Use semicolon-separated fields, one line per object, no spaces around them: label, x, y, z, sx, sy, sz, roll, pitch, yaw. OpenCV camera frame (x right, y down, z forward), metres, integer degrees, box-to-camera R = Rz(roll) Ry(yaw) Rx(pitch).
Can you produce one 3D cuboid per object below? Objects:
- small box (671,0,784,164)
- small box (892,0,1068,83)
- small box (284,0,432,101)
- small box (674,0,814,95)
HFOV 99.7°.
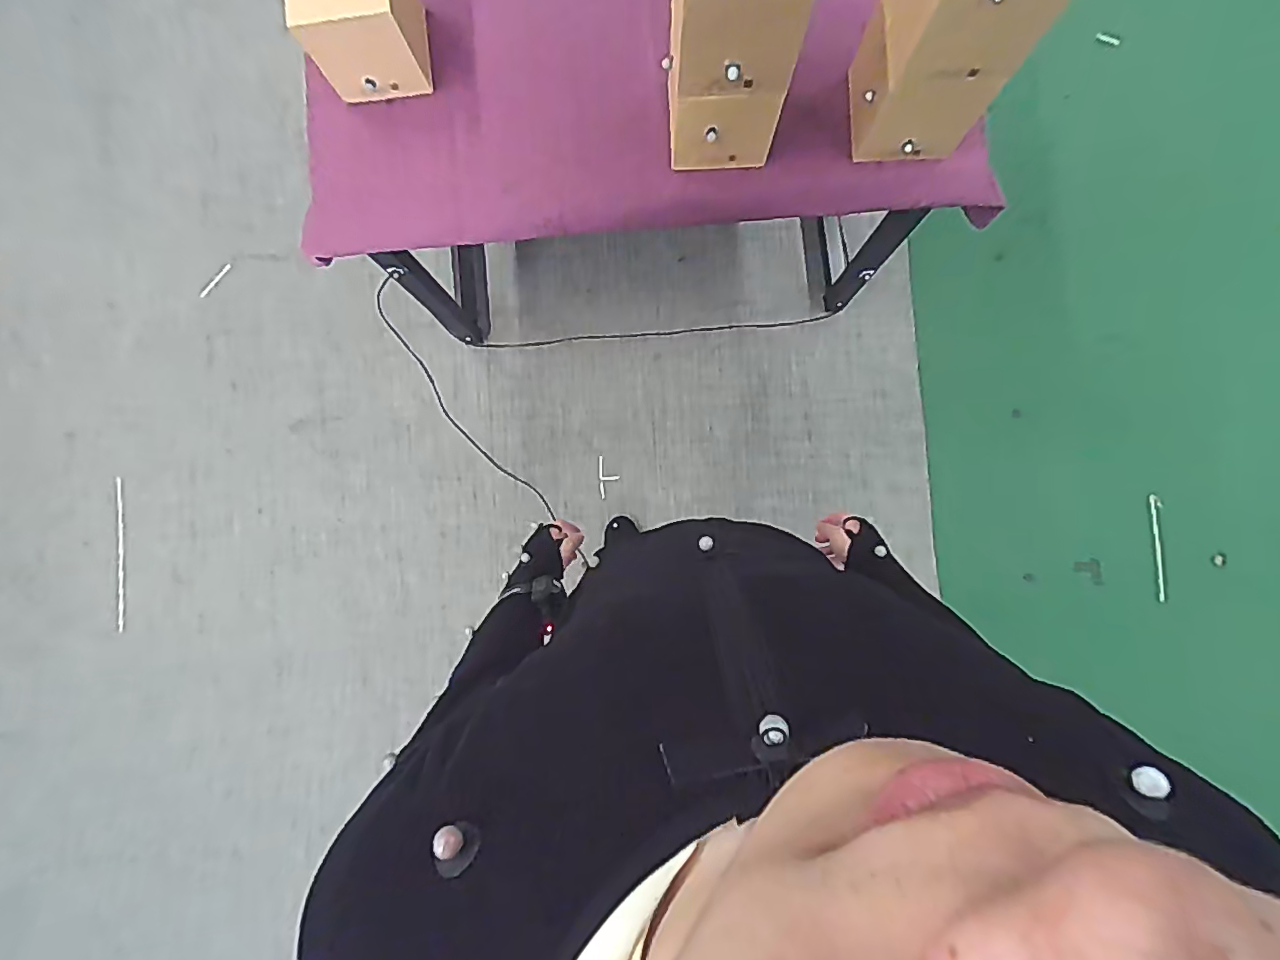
small box;0.136;-0.648;0.889;0.168;0.176;0.179;-2;85;2
small box;0.449;-0.671;0.713;0.168;0.176;0.179;-1;85;3
small box;-0.470;-0.792;0.916;0.168;0.176;0.179;-7;87;2
small box;0.132;-0.664;0.725;0.168;0.176;0.179;-1;85;2
